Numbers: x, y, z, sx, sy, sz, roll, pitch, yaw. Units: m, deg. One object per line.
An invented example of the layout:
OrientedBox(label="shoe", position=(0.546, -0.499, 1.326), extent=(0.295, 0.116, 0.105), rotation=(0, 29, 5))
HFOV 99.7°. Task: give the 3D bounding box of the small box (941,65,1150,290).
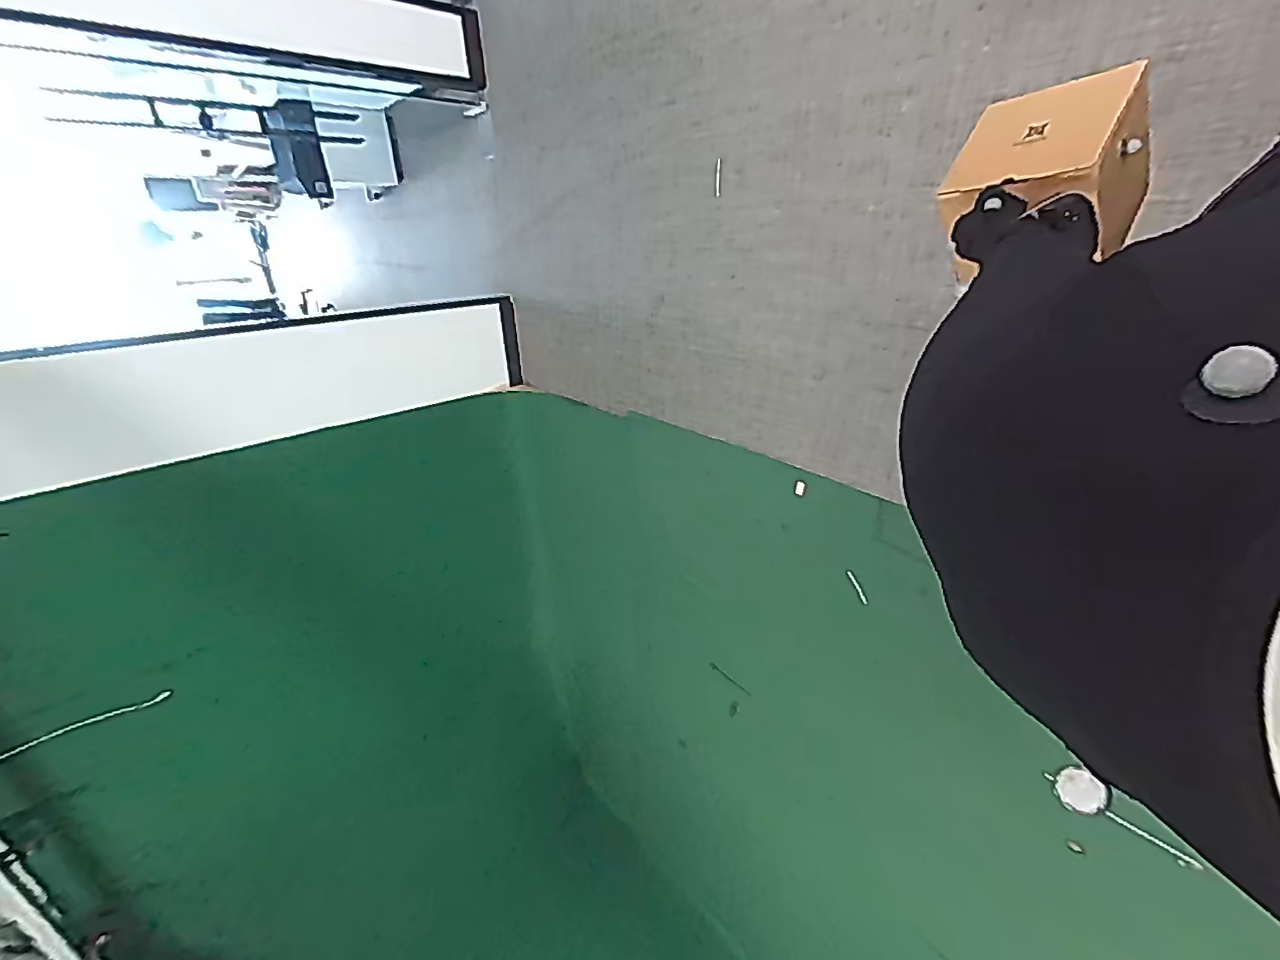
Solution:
OrientedBox(label="small box", position=(0.530, -0.376, 0.707), extent=(0.168, 0.179, 0.176), rotation=(19, 162, 50))
